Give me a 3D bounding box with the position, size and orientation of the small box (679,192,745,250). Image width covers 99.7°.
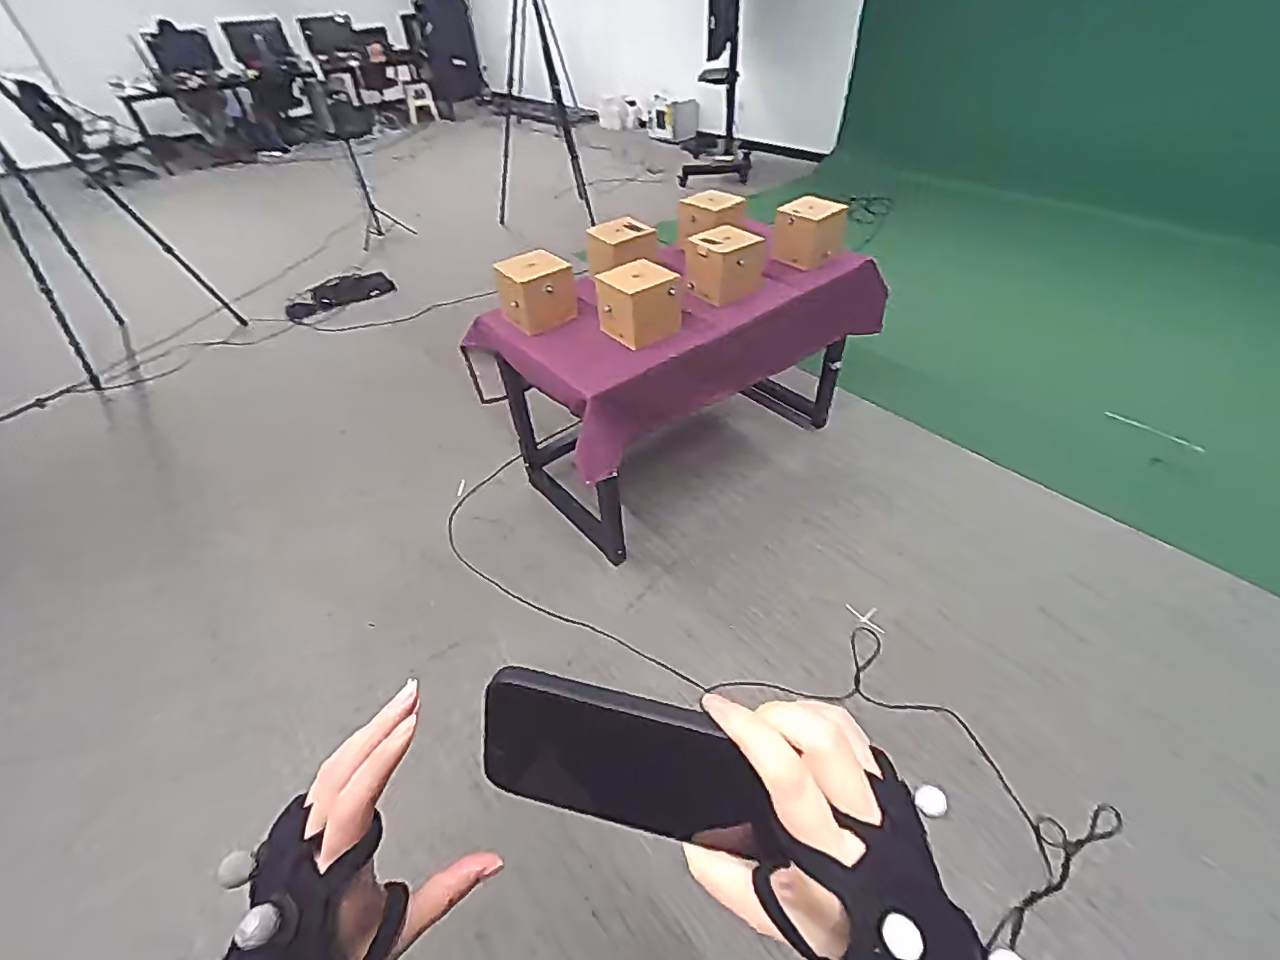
[{"bbox_3d":[0.255,-0.916,1.951,0.168,0.176,0.179,-34,52,-27],"label":"small box"}]

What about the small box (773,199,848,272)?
[{"bbox_3d":[0.573,-0.834,1.844,0.179,0.176,0.168,-32,50,-26],"label":"small box"}]

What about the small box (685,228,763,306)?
[{"bbox_3d":[0.259,-0.662,1.687,0.179,0.176,0.168,-28,49,-24],"label":"small box"}]

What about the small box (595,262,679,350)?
[{"bbox_3d":[-0.003,-0.490,1.526,0.179,0.176,0.168,-29,49,-26],"label":"small box"}]
